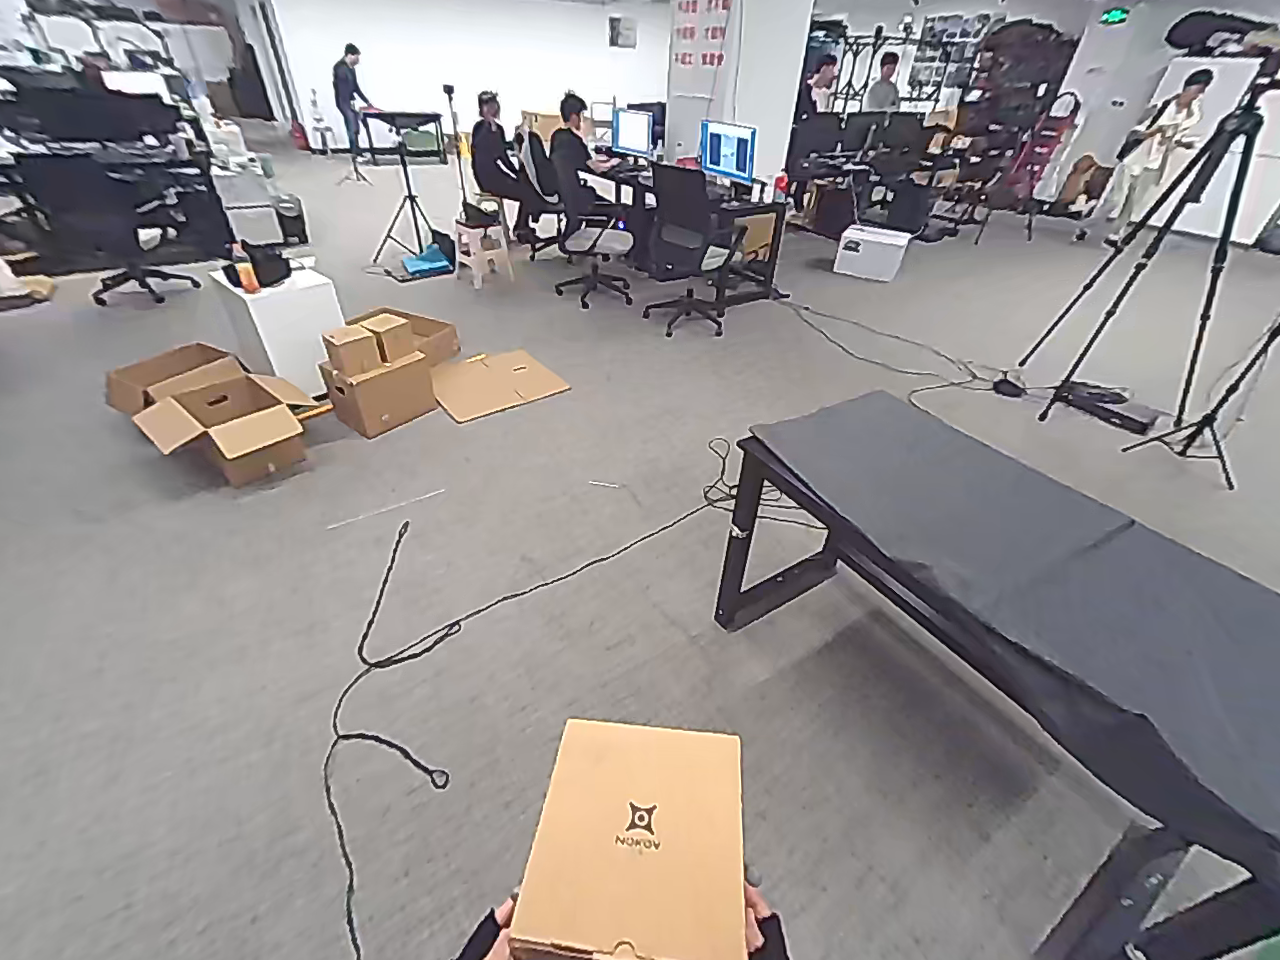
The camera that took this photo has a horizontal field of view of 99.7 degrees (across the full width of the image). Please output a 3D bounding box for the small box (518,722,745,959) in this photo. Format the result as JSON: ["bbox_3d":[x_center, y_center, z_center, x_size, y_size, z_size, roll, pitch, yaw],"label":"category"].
[{"bbox_3d":[0.003,0.355,0.490,0.168,0.176,0.179,3,33,7],"label":"small box"}]
